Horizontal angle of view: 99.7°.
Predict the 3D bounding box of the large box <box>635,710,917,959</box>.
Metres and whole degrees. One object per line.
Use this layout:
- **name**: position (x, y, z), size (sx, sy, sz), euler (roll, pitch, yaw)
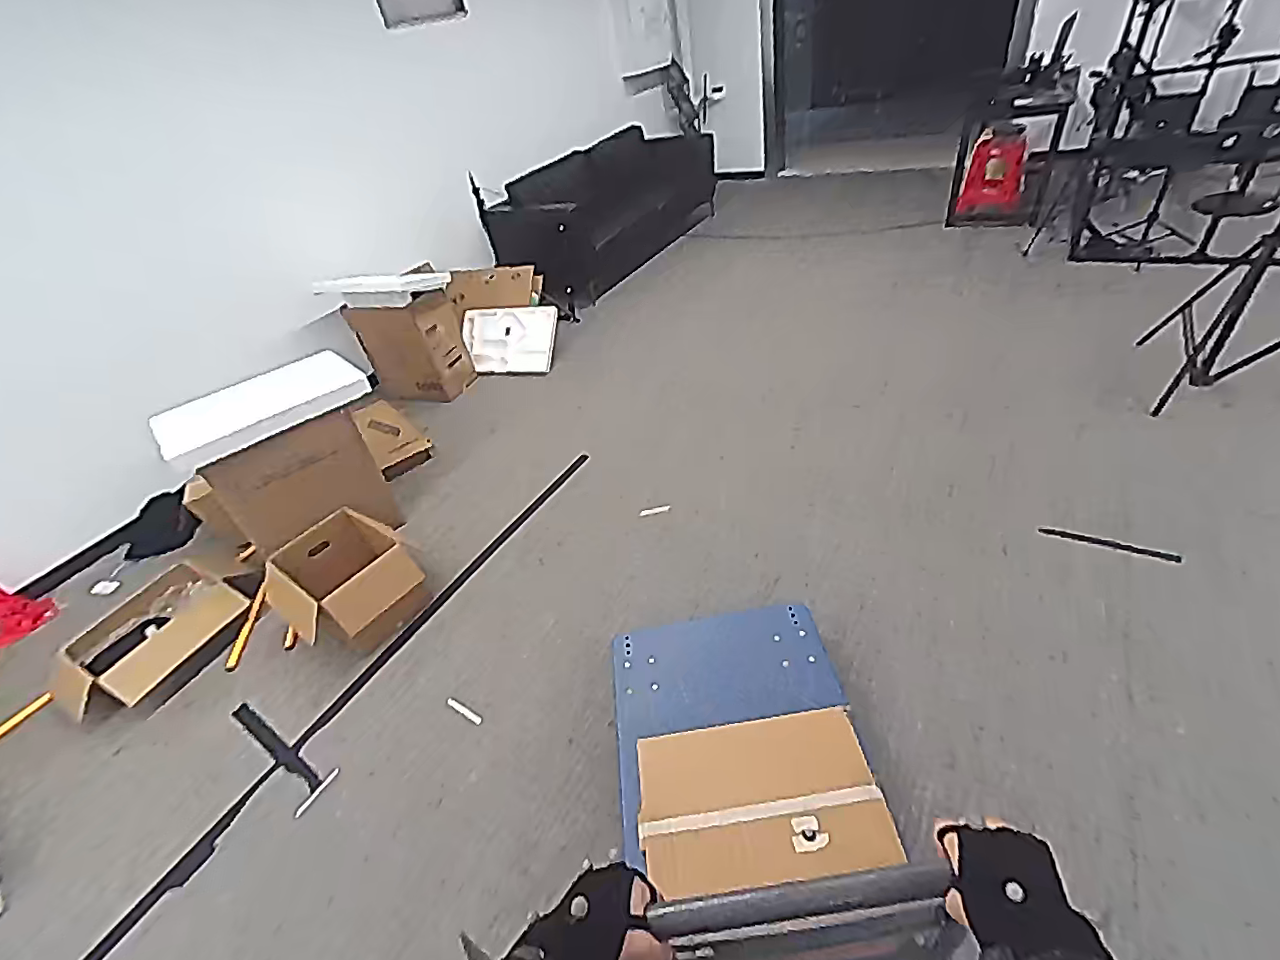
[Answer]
- **large box**: position (0.221, 0.682, 1.005), size (0.408, 0.320, 0.320), euler (-10, 39, 1)
